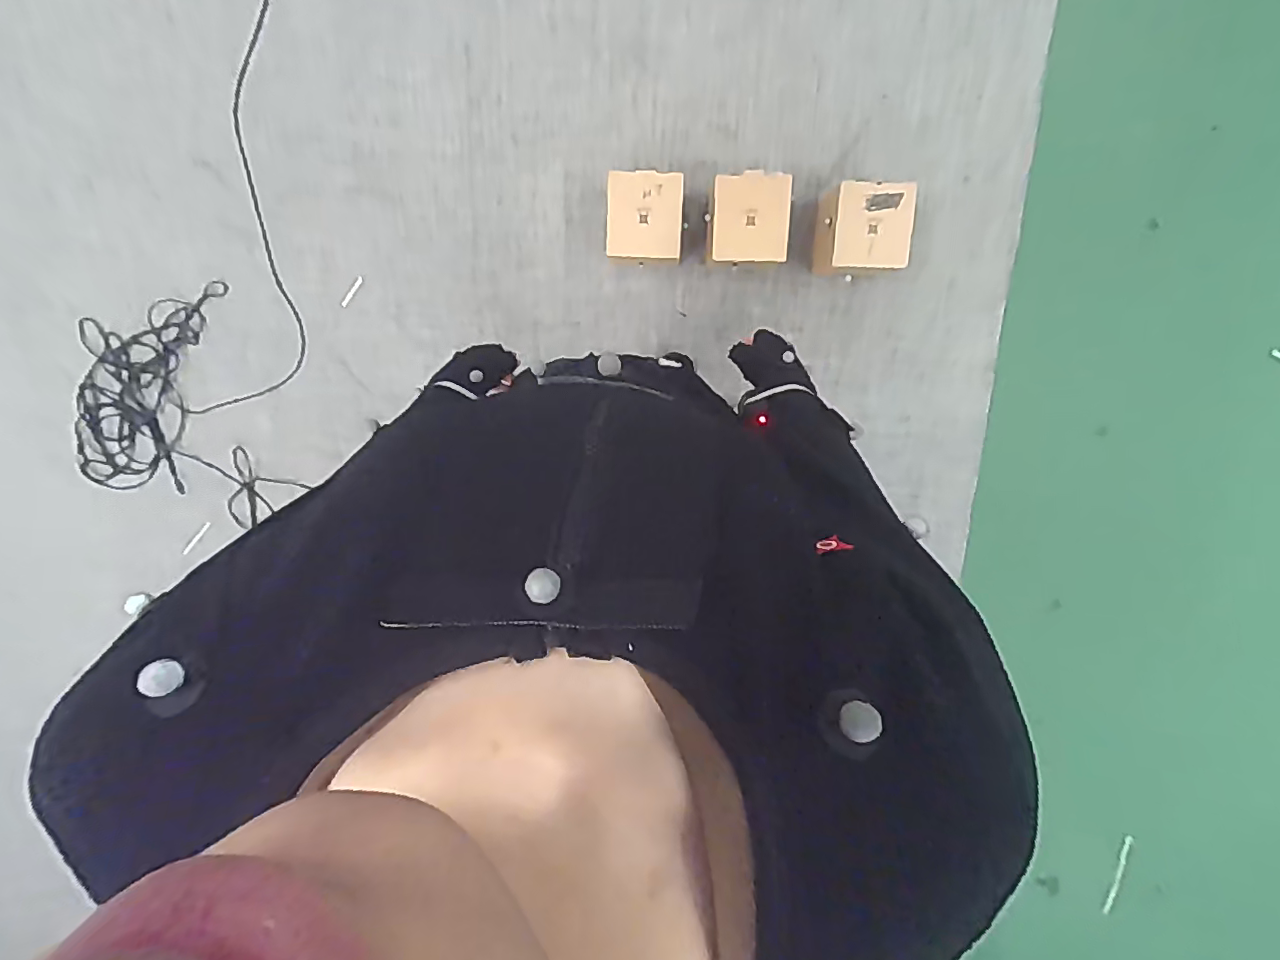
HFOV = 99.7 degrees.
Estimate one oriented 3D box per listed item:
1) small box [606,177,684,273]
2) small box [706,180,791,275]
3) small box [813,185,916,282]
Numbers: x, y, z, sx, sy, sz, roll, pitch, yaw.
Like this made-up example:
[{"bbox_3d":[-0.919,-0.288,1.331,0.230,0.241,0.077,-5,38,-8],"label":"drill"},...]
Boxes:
[{"bbox_3d":[0.013,-0.585,1.260,0.168,0.176,0.179,3,103,1],"label":"small box"},{"bbox_3d":[0.245,-0.577,1.255,0.168,0.176,0.179,1,103,2],"label":"small box"},{"bbox_3d":[0.508,-0.561,1.248,0.168,0.176,0.179,2,104,2],"label":"small box"}]
